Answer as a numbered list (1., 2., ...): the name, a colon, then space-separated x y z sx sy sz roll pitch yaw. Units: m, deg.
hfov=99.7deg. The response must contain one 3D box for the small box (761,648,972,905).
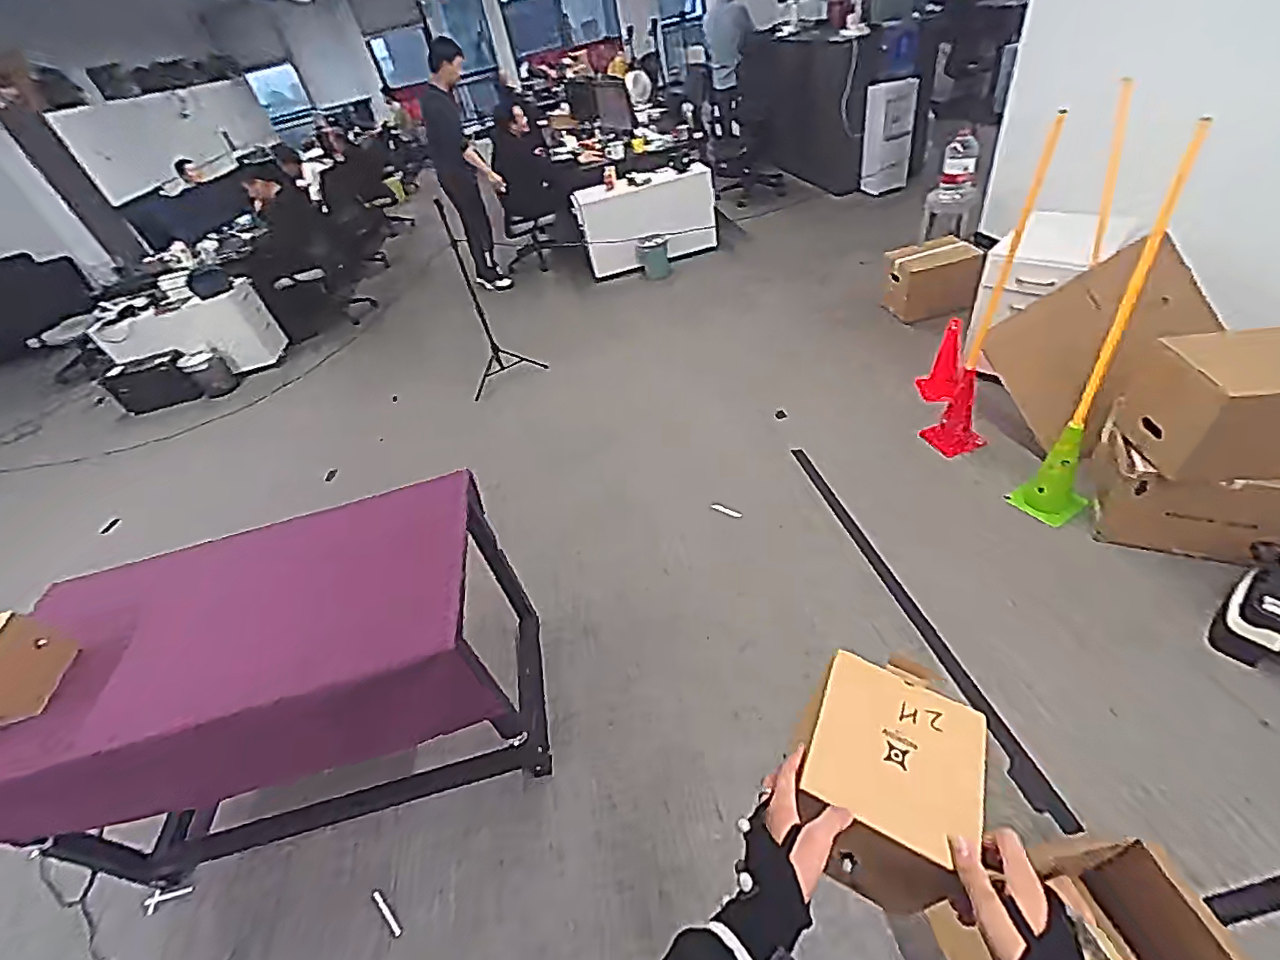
1. small box: 0.249 0.336 0.616 0.168 0.176 0.179 22 45 17

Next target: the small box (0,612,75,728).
1. small box: -1.427 0.429 1.193 0.168 0.176 0.179 -18 41 -5
